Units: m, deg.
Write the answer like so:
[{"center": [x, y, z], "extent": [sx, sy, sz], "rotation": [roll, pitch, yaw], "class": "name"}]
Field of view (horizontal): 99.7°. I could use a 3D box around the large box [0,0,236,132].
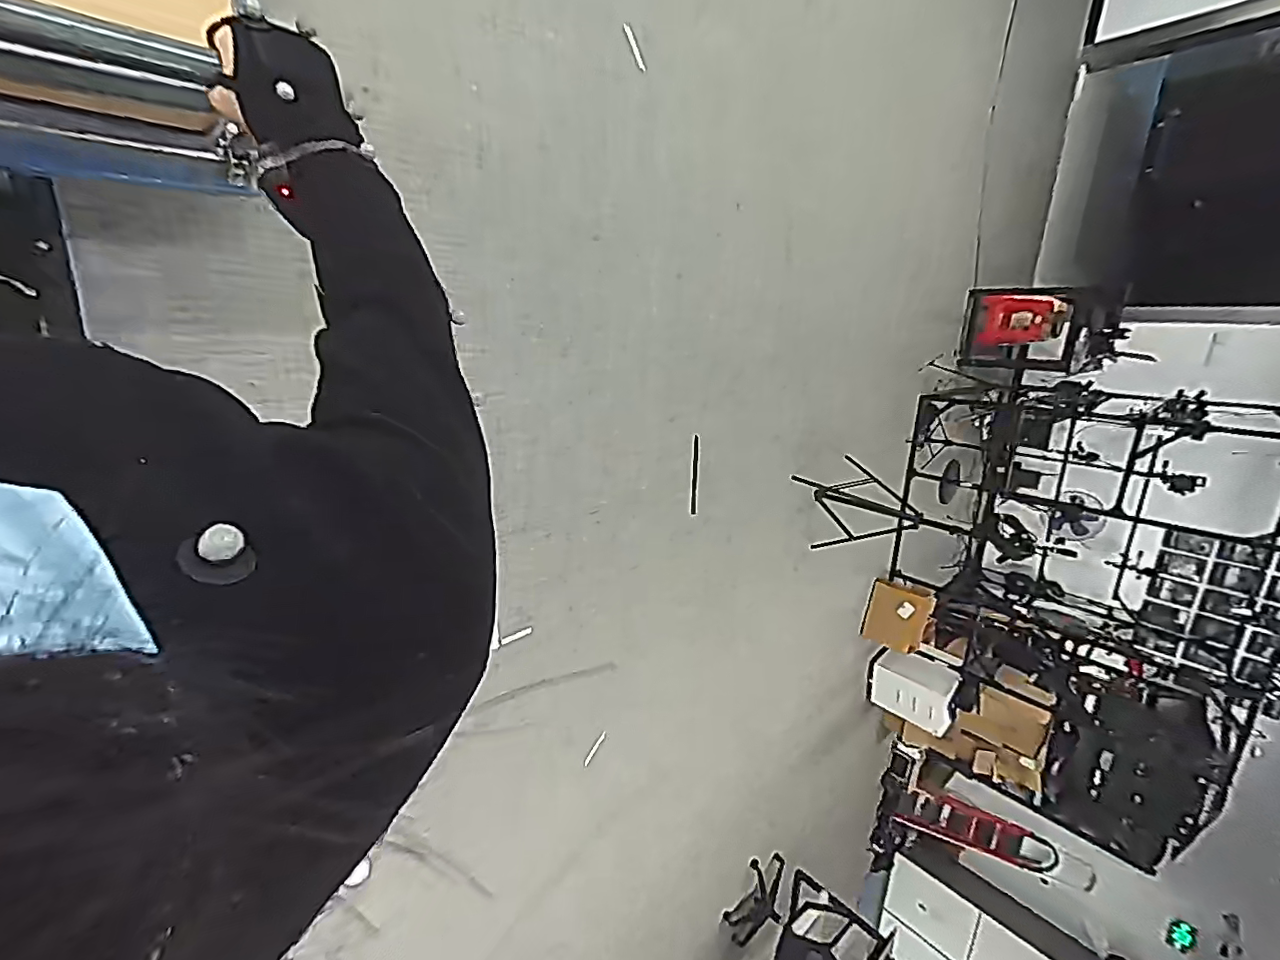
[{"center": [-0.805, -0.684, 0.674], "extent": [0.408, 0.320, 0.320], "rotation": [-15, 113, -43], "class": "large box"}]
